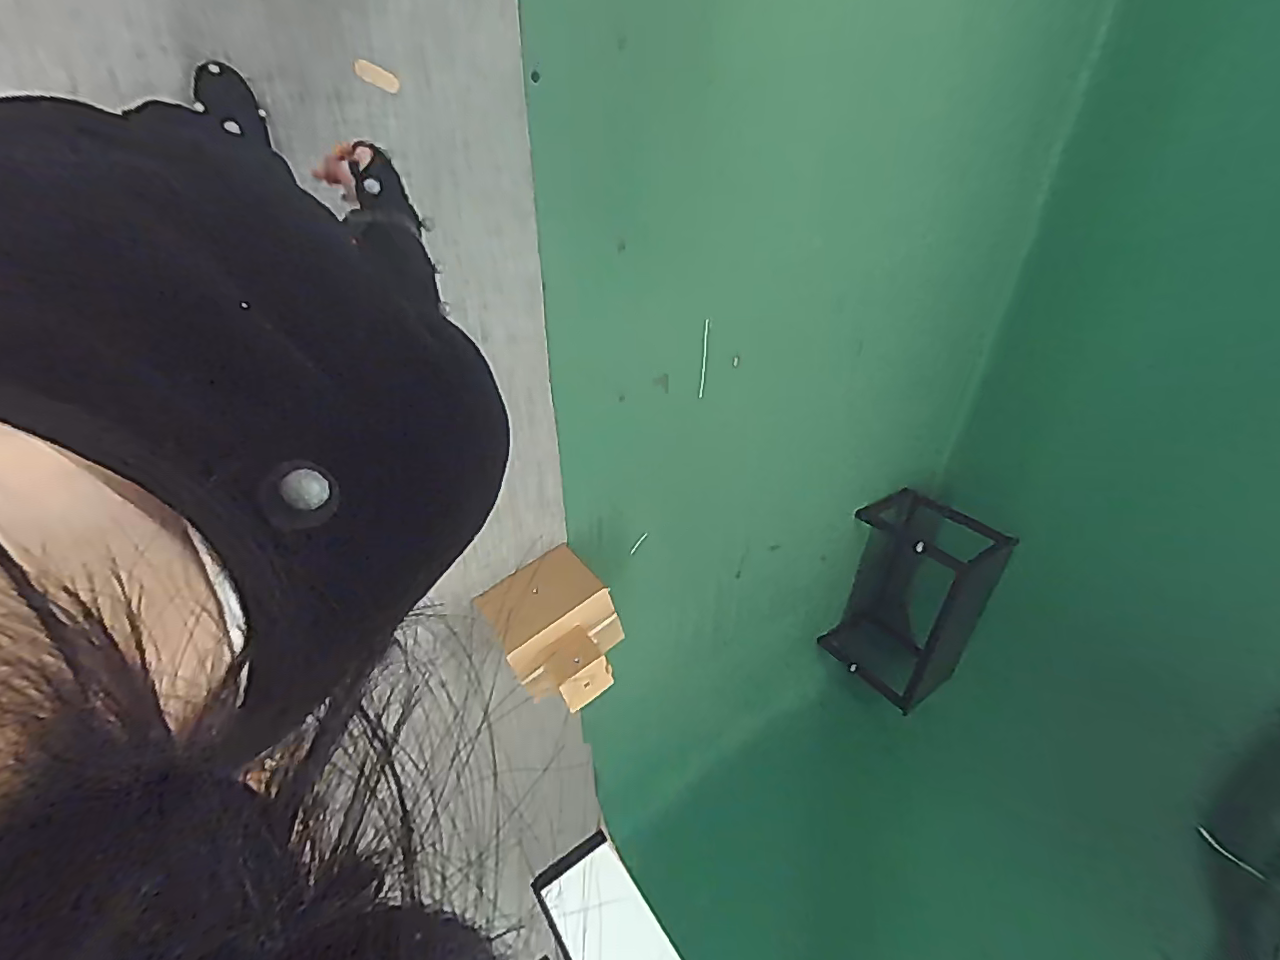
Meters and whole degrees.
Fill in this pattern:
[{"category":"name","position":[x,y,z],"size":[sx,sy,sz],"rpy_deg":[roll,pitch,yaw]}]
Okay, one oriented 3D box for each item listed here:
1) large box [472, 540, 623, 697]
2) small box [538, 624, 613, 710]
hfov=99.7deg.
[{"category":"large box","position":[-0.337,0.500,1.998],"size":[0.408,0.320,0.320],"rpy_deg":[-33,134,-21]},{"category":"small box","position":[-0.217,0.621,1.818],"size":[0.179,0.176,0.168],"rpy_deg":[-29,130,-22]}]
